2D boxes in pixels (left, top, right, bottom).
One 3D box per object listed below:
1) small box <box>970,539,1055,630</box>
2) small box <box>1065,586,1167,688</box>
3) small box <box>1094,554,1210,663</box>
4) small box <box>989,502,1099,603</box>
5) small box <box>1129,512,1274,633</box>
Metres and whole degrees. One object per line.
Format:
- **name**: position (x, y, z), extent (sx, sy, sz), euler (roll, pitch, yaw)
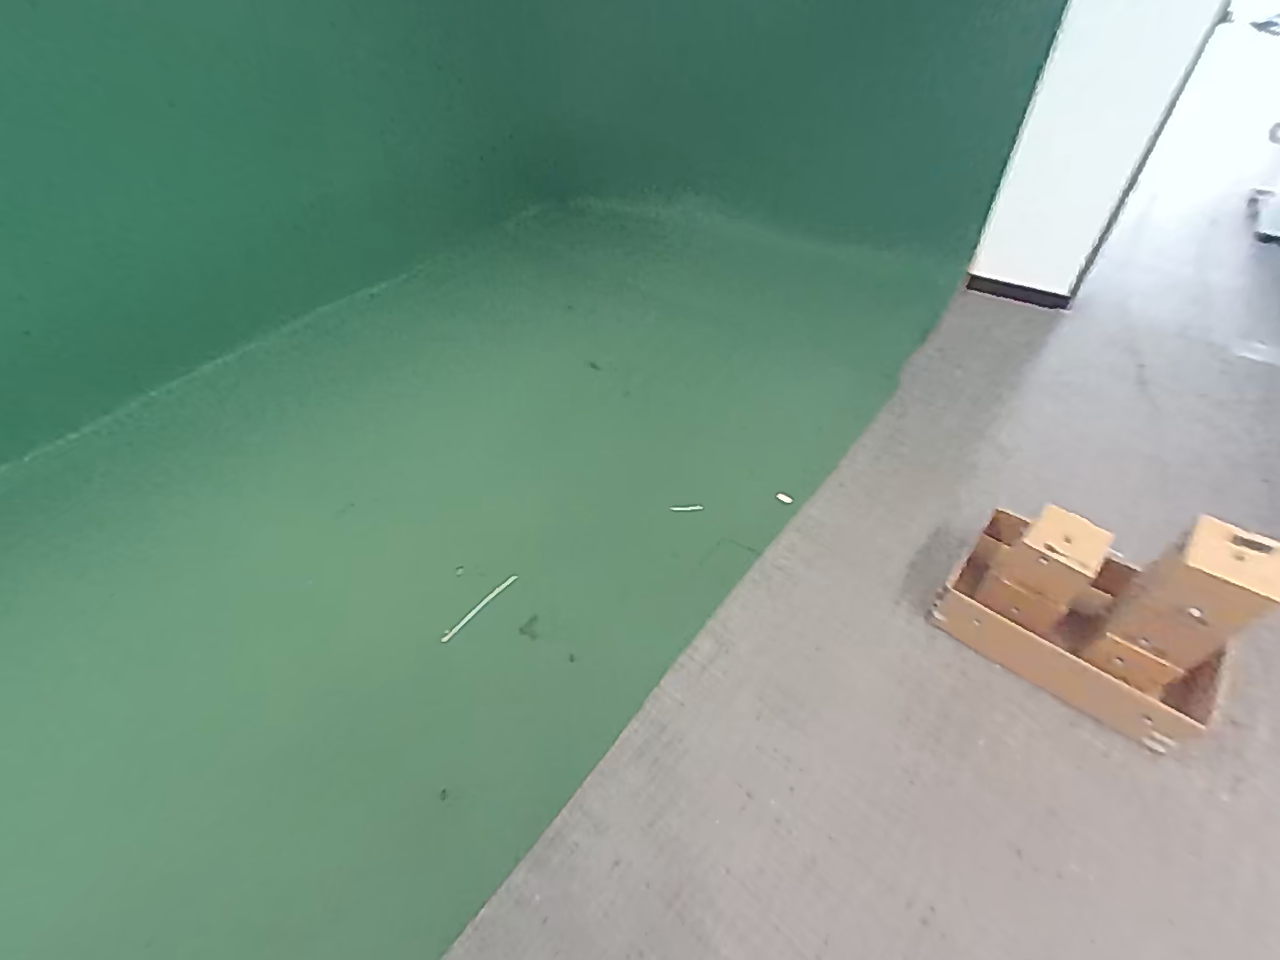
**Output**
- **small box**: position (1.115, 0.313, 1.608), extent (0.168, 0.176, 0.179), euler (31, 58, 27)
- **small box**: position (1.312, 0.433, 1.483), extent (0.168, 0.176, 0.179), euler (30, 58, 29)
- **small box**: position (1.299, 0.321, 1.365), extent (0.168, 0.176, 0.179), euler (32, 59, 31)
- **small box**: position (1.102, 0.201, 1.487), extent (0.179, 0.176, 0.168), euler (-38, 55, -26)
- **small box**: position (1.279, 0.213, 1.243), extent (0.168, 0.176, 0.179), euler (30, 58, 31)
